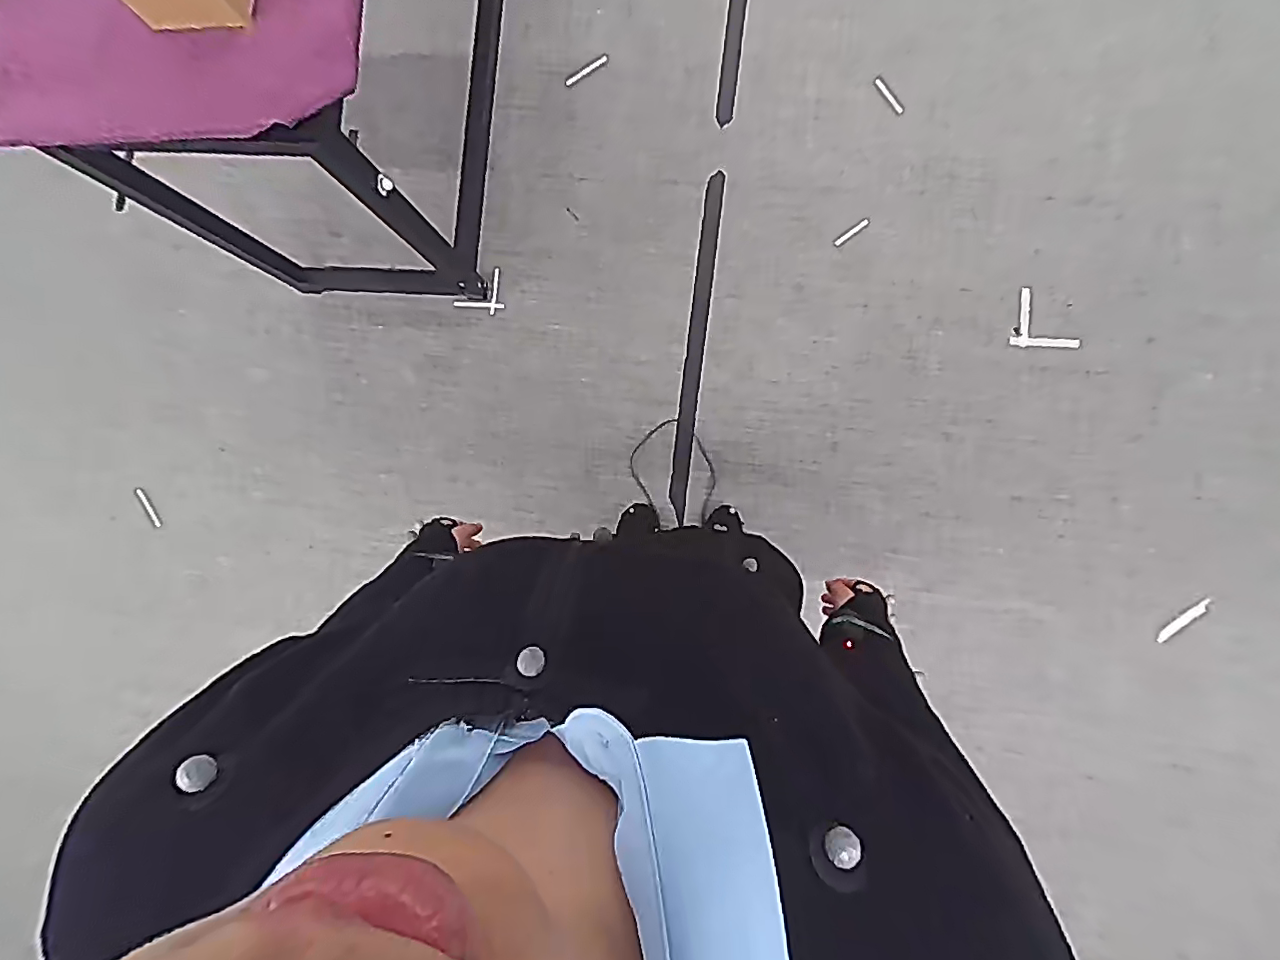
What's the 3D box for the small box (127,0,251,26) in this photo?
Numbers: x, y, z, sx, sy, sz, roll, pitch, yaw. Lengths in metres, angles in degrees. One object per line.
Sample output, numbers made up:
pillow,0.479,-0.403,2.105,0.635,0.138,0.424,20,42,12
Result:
small box,-0.709,-0.814,0.793,0.179,0.176,0.168,3,87,5
